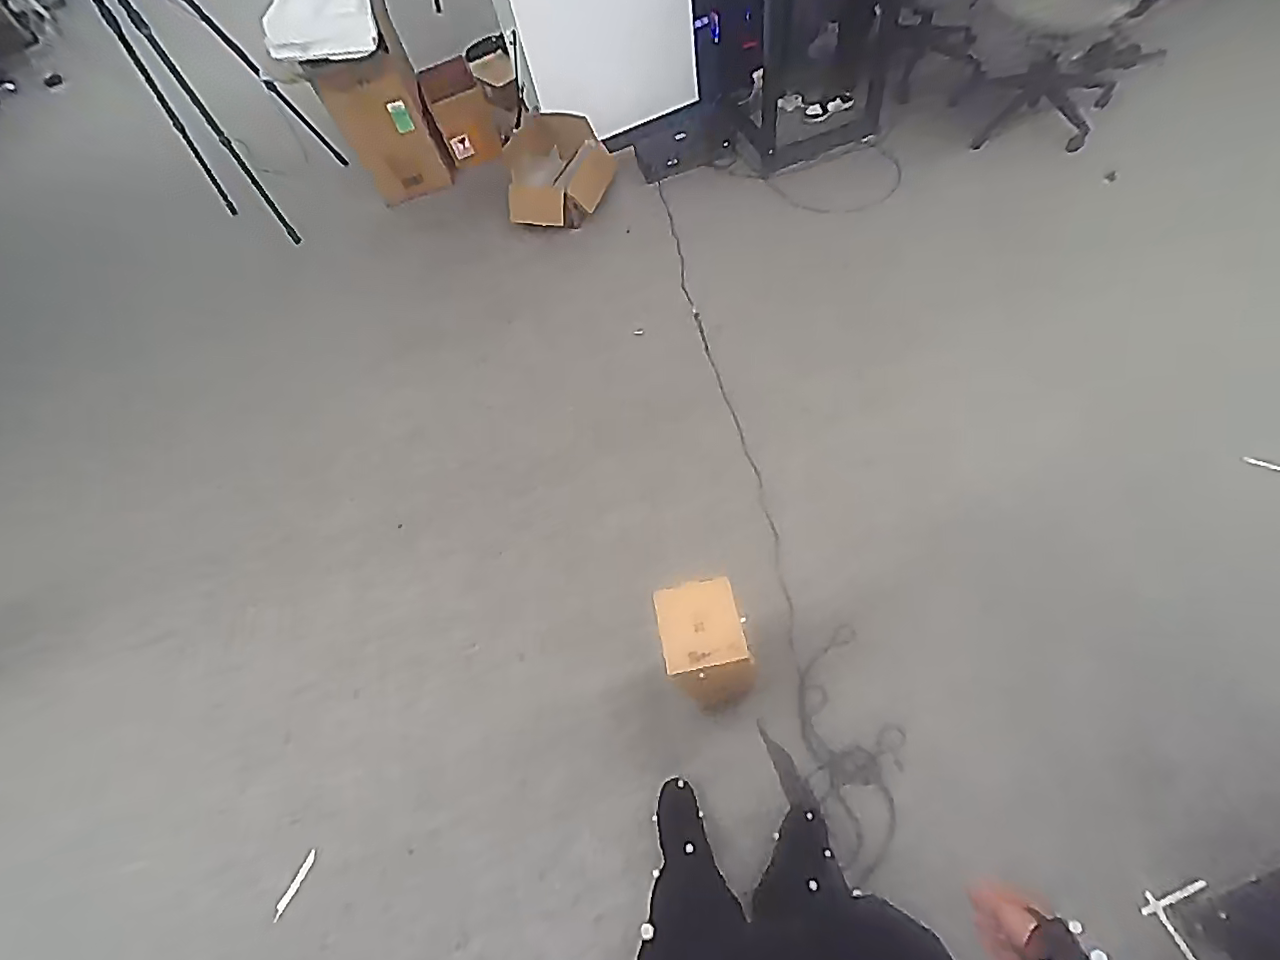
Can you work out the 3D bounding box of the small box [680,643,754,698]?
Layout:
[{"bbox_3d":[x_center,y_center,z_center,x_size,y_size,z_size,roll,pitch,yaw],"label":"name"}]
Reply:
[{"bbox_3d":[0.167,0.410,1.303,0.179,0.176,0.168,-20,58,0],"label":"small box"}]

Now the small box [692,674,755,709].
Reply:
[{"bbox_3d":[0.195,0.488,1.441,0.168,0.176,0.179,-22,59,0],"label":"small box"}]

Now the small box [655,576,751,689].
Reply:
[{"bbox_3d":[0.136,0.331,1.162,0.168,0.176,0.179,-14,58,4],"label":"small box"}]
